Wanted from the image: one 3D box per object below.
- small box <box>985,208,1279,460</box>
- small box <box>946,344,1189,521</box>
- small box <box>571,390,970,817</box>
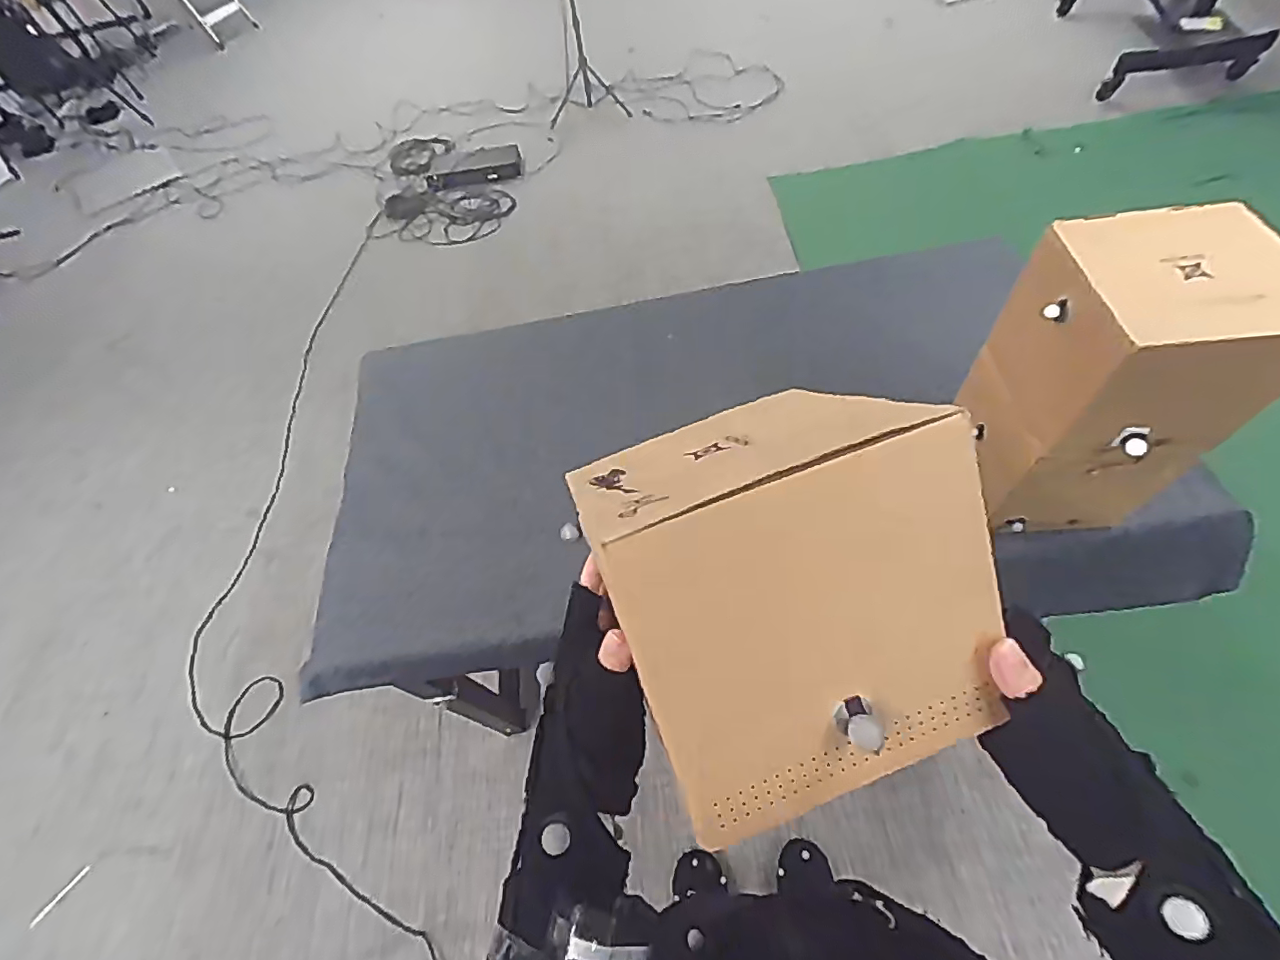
[{"bbox_3d":[0.486,-0.140,0.545,0.168,0.176,0.179,-4,58,7],"label":"small box"},{"bbox_3d":[0.508,-0.057,0.682,0.168,0.176,0.179,-3,56,6],"label":"small box"},{"bbox_3d":[0.070,0.054,0.333,0.179,0.176,0.168,-19,15,-7],"label":"small box"}]
